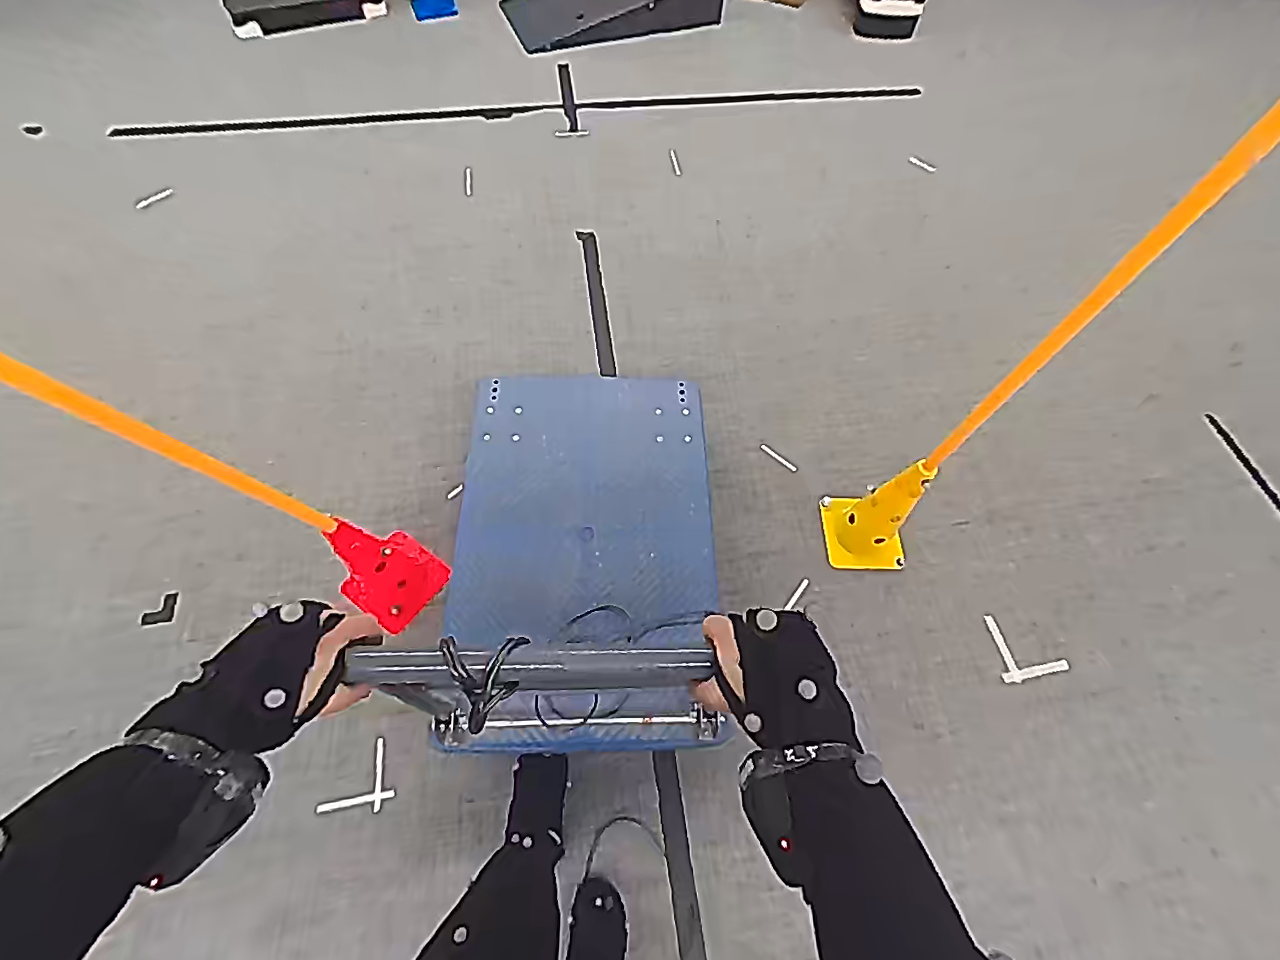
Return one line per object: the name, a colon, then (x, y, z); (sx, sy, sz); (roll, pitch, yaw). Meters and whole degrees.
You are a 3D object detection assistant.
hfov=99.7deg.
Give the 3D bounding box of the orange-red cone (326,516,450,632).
orange-red cone: (-0.578, 0.163, 1.160); (0.198, 0.360, 0.199); (35, 65, 13)
